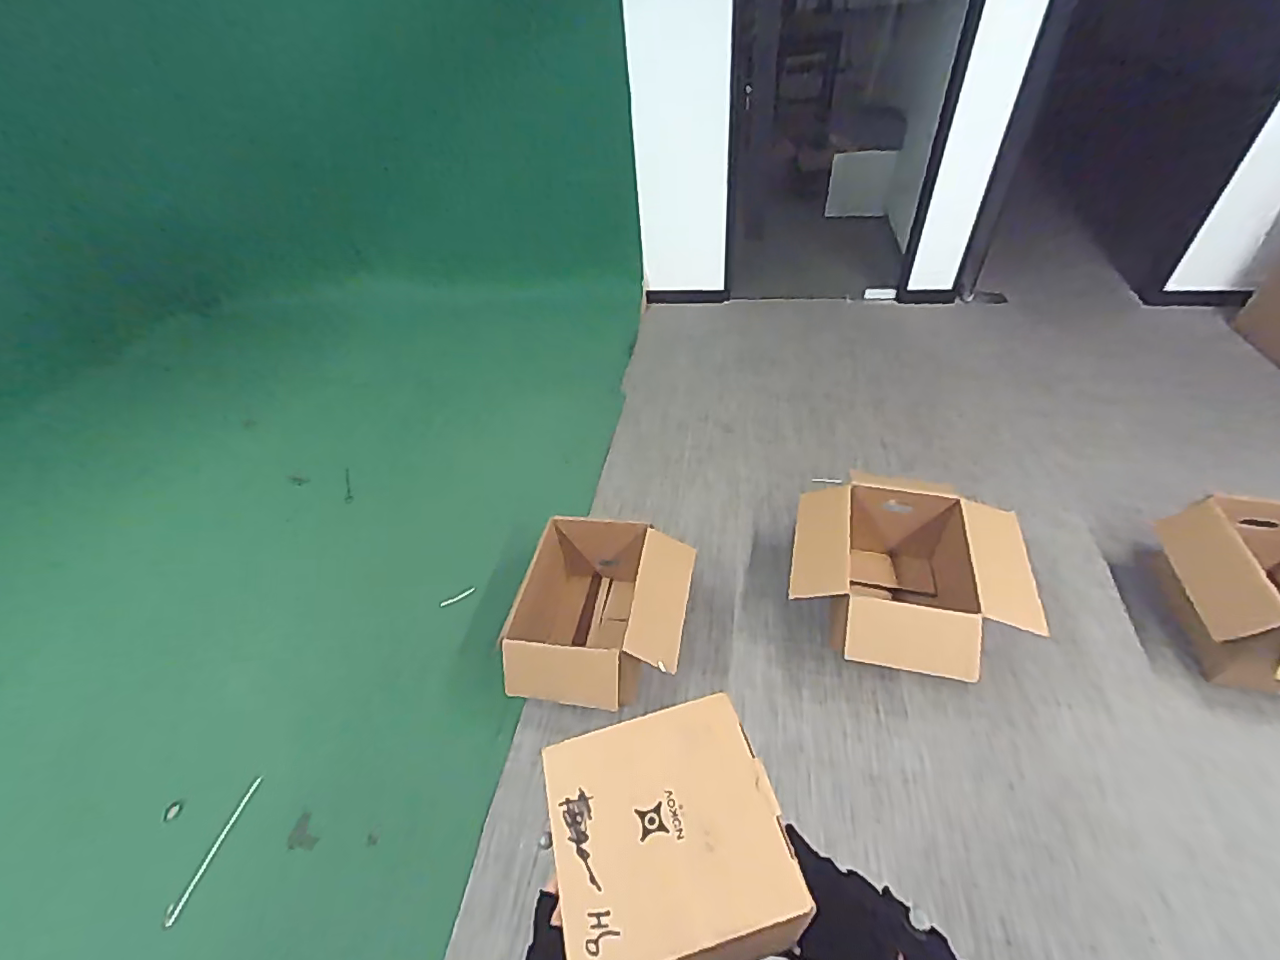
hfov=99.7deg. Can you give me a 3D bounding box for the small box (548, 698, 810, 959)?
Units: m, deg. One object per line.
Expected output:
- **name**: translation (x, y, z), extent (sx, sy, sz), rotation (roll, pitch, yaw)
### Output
- **small box**: translation (0.025, 0.328, 0.481), extent (0.179, 0.176, 0.168), rotation (-12, 41, -7)
